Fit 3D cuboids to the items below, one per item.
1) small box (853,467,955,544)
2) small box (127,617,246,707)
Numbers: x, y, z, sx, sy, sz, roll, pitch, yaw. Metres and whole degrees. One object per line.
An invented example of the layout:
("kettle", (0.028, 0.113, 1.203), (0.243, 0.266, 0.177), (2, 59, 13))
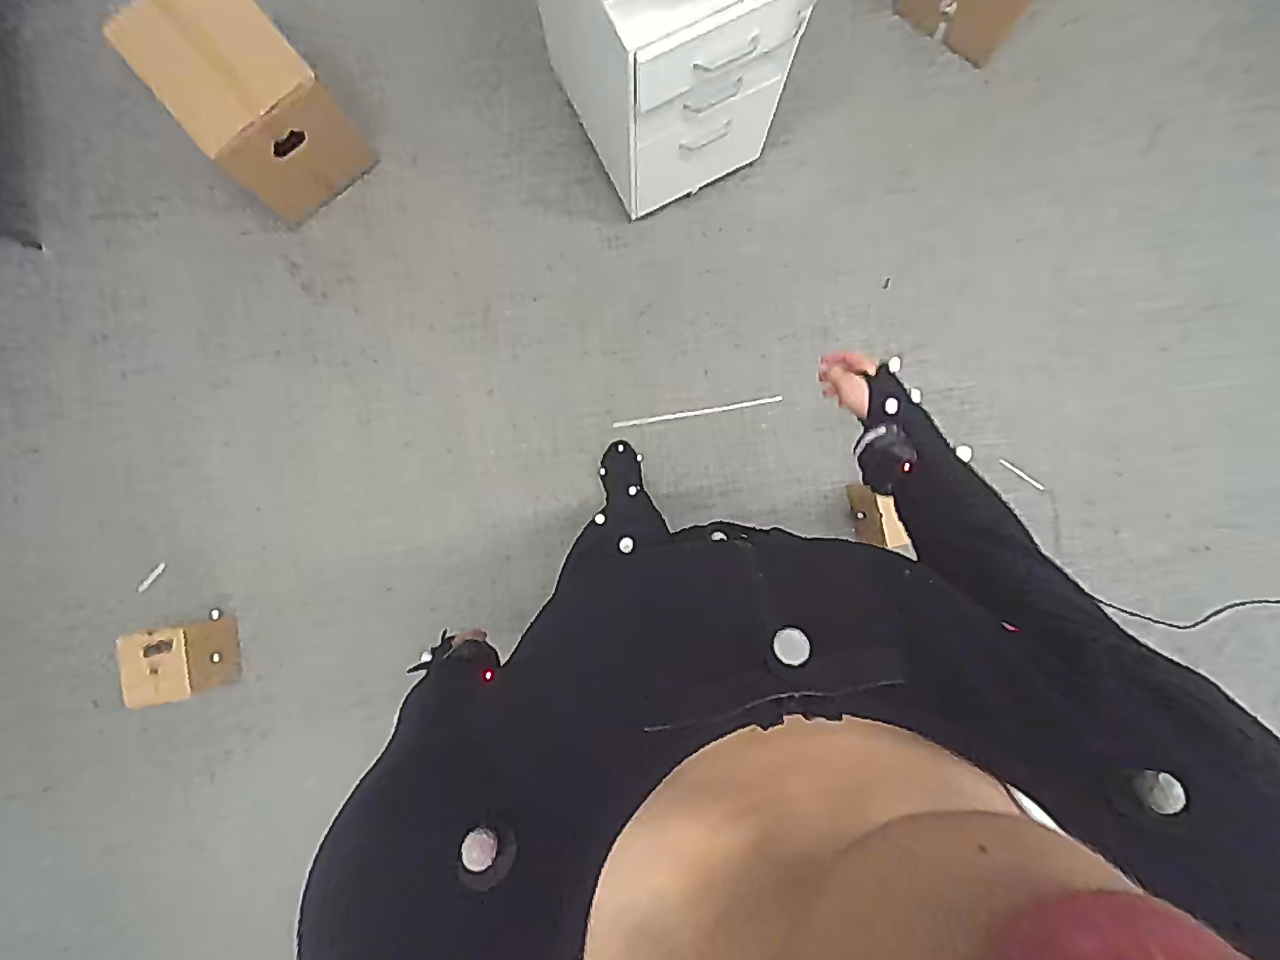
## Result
("small box", (0.671, 0.067, 1.402), (0.179, 0.176, 0.168), (-12, 87, 1))
("small box", (-1.164, 0.460, 1.397), (0.168, 0.176, 0.179), (-8, 88, 0))
